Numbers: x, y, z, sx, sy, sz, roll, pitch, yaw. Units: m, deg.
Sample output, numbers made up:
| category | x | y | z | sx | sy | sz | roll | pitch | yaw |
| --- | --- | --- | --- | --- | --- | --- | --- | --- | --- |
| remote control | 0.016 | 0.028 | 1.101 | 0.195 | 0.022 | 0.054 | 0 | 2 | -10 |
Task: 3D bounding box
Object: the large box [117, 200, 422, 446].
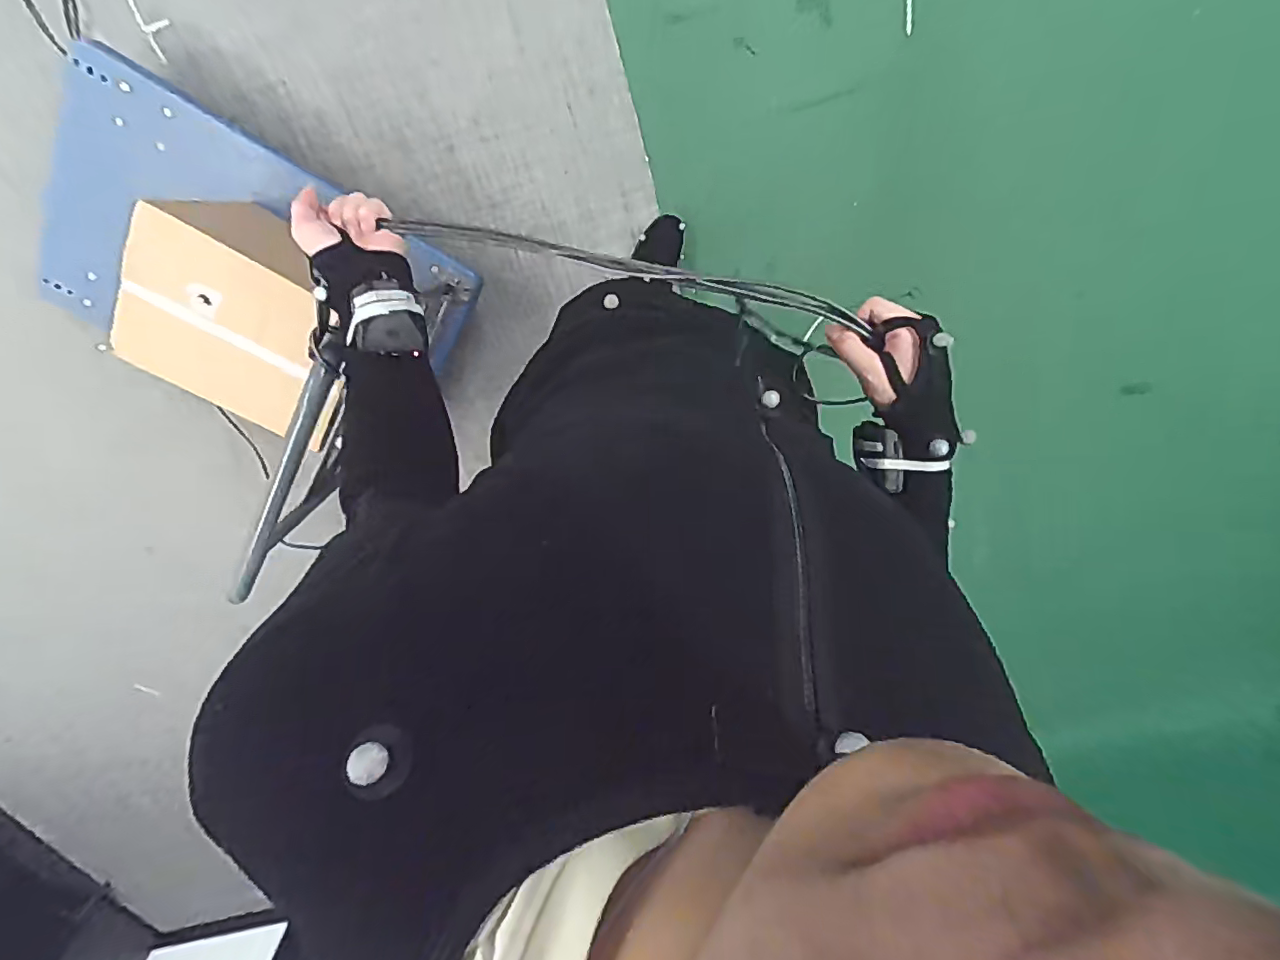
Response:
| category | x | y | z | sx | sy | sz | roll | pitch | yaw |
| --- | --- | --- | --- | --- | --- | --- | --- | --- | --- |
| large box | -0.753 | -0.338 | 1.154 | 0.408 | 0.320 | 0.320 | 29 | 111 | -14 |
